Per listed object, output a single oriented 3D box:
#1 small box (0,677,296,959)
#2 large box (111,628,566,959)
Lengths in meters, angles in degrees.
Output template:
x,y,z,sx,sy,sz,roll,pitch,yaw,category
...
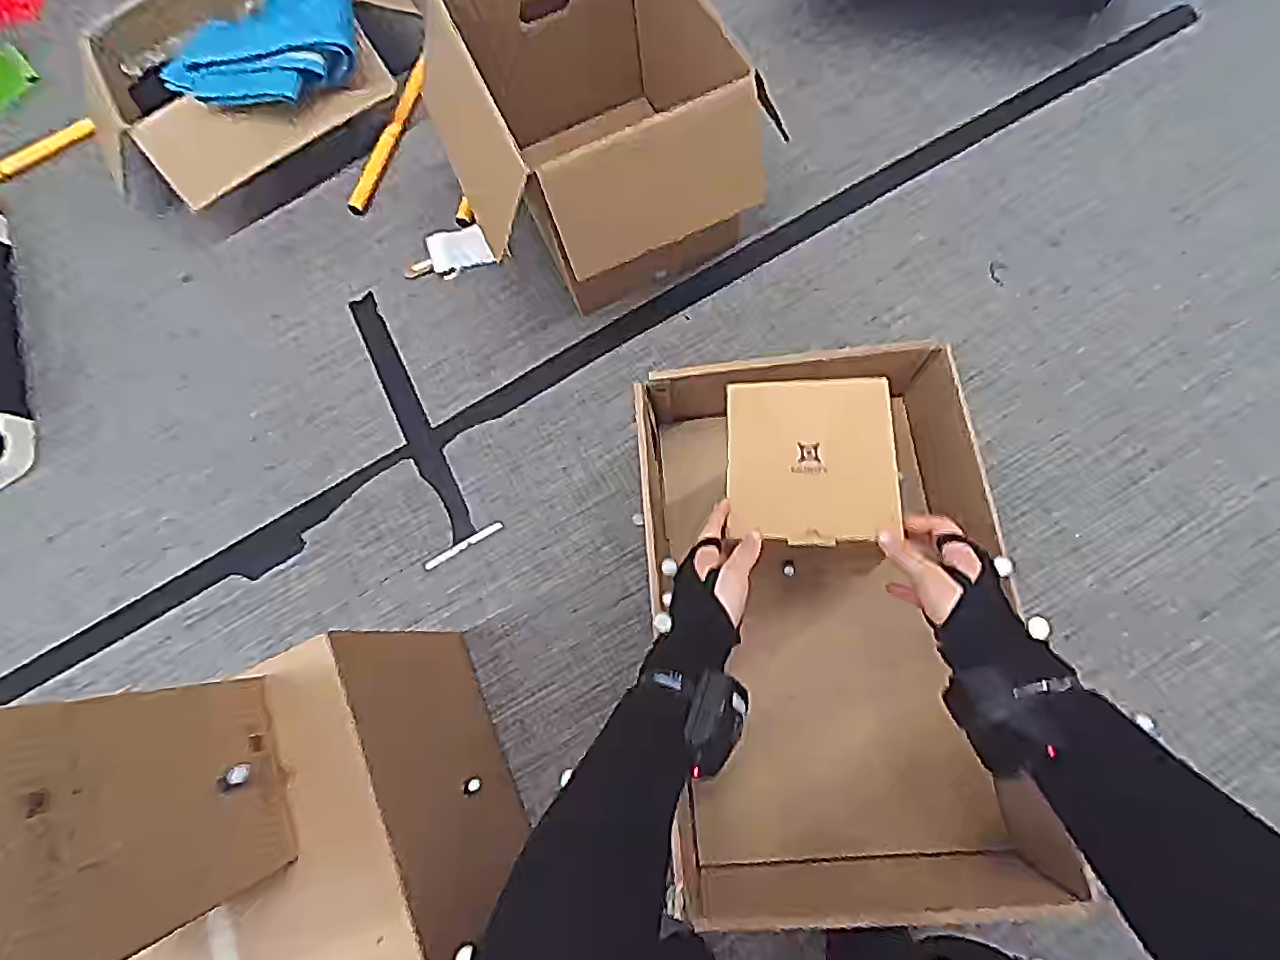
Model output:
x,y,z,sx,sy,sz,roll,pitch,yaw,category
-0.413,0.268,0.413,0.179,0.176,0.168,-25,75,-1,small box
-0.331,0.422,0.617,0.320,0.320,0.408,-28,74,-1,large box
